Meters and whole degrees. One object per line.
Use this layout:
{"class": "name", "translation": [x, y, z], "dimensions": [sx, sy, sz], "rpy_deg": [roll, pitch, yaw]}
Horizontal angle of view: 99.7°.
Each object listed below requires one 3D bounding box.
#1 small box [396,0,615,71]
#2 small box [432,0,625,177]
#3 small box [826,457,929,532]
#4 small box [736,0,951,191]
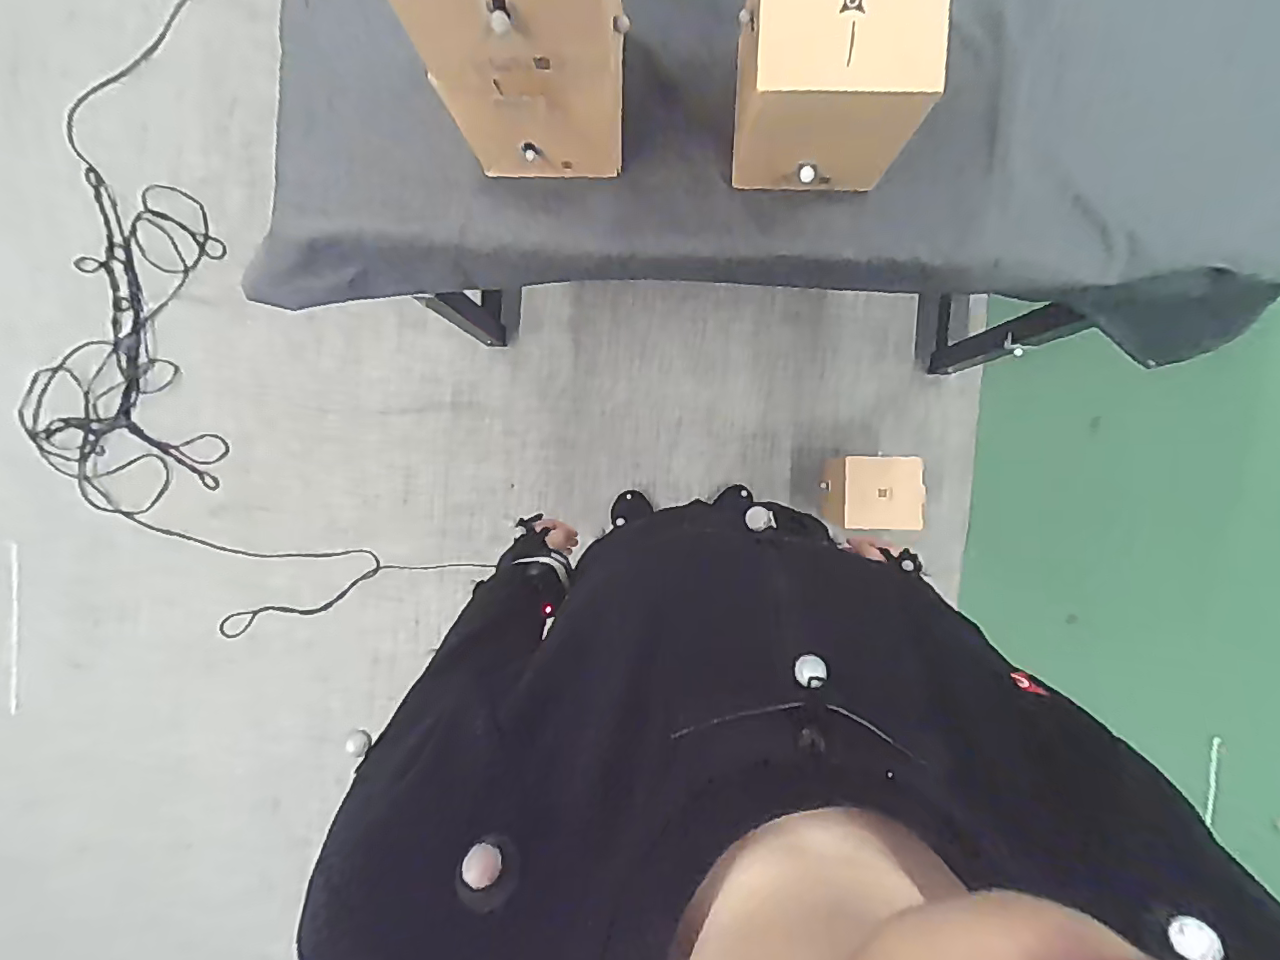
{"class": "small box", "translation": [-0.107, -0.447, 0.408], "dimensions": [0.168, 0.176, 0.179], "rpy_deg": [0, 92, 2]}
{"class": "small box", "translation": [-0.105, -0.453, 0.571], "dimensions": [0.168, 0.176, 0.179], "rpy_deg": [1, 91, 2]}
{"class": "small box", "translation": [0.554, 0.030, 1.278], "dimensions": [0.179, 0.176, 0.168], "rpy_deg": [0, 90, 4]}
{"class": "small box", "translation": [0.193, -0.429, 0.555], "dimensions": [0.168, 0.176, 0.179], "rpy_deg": [2, 91, 3]}
